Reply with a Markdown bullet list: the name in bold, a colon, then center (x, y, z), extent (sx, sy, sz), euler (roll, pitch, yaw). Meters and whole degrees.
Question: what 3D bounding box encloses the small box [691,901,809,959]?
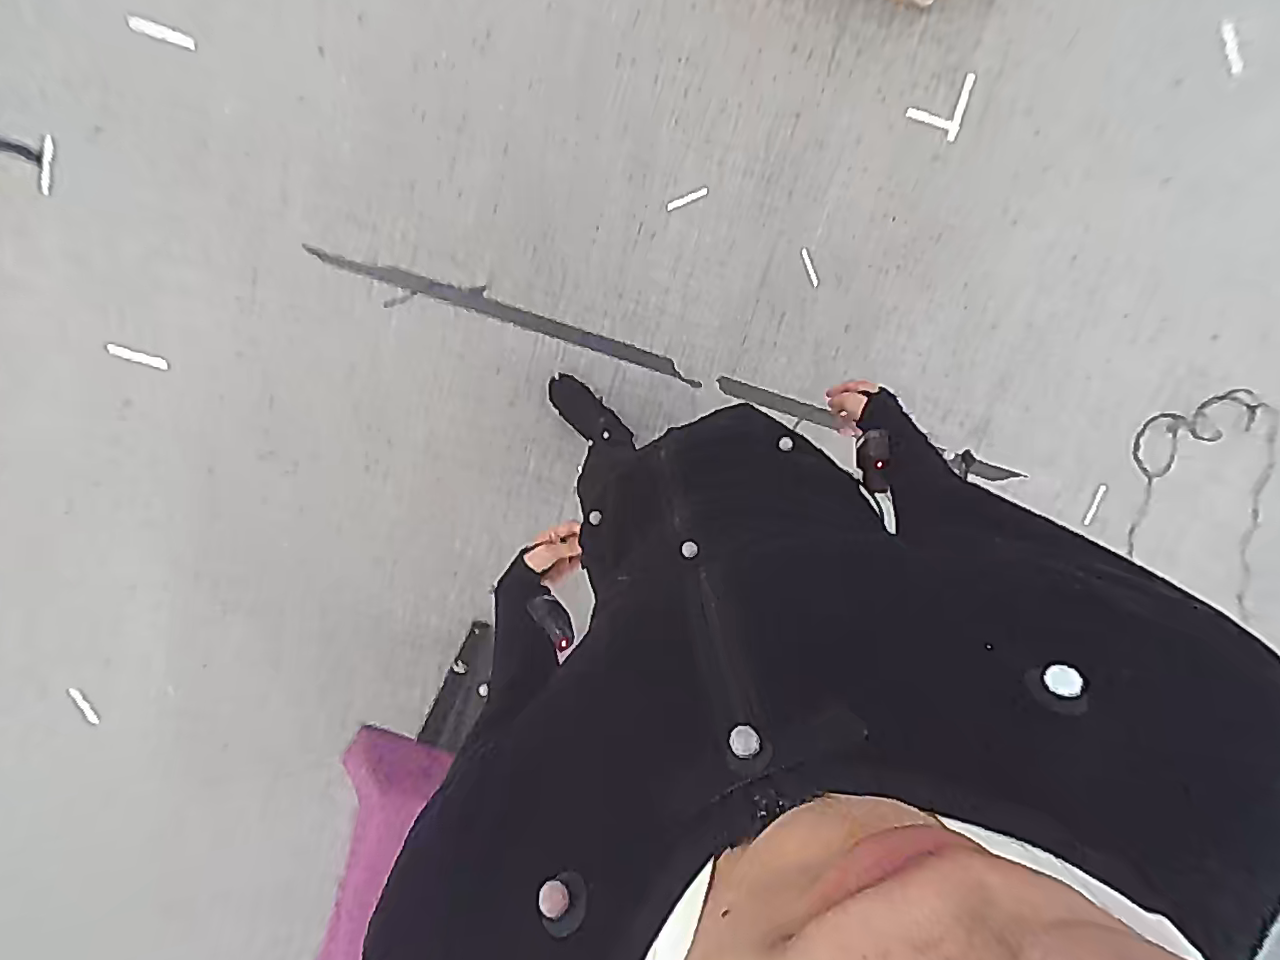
- **small box**: center (0.206, 0.928, 0.997), extent (0.179, 0.176, 0.168), euler (16, 100, -7)
